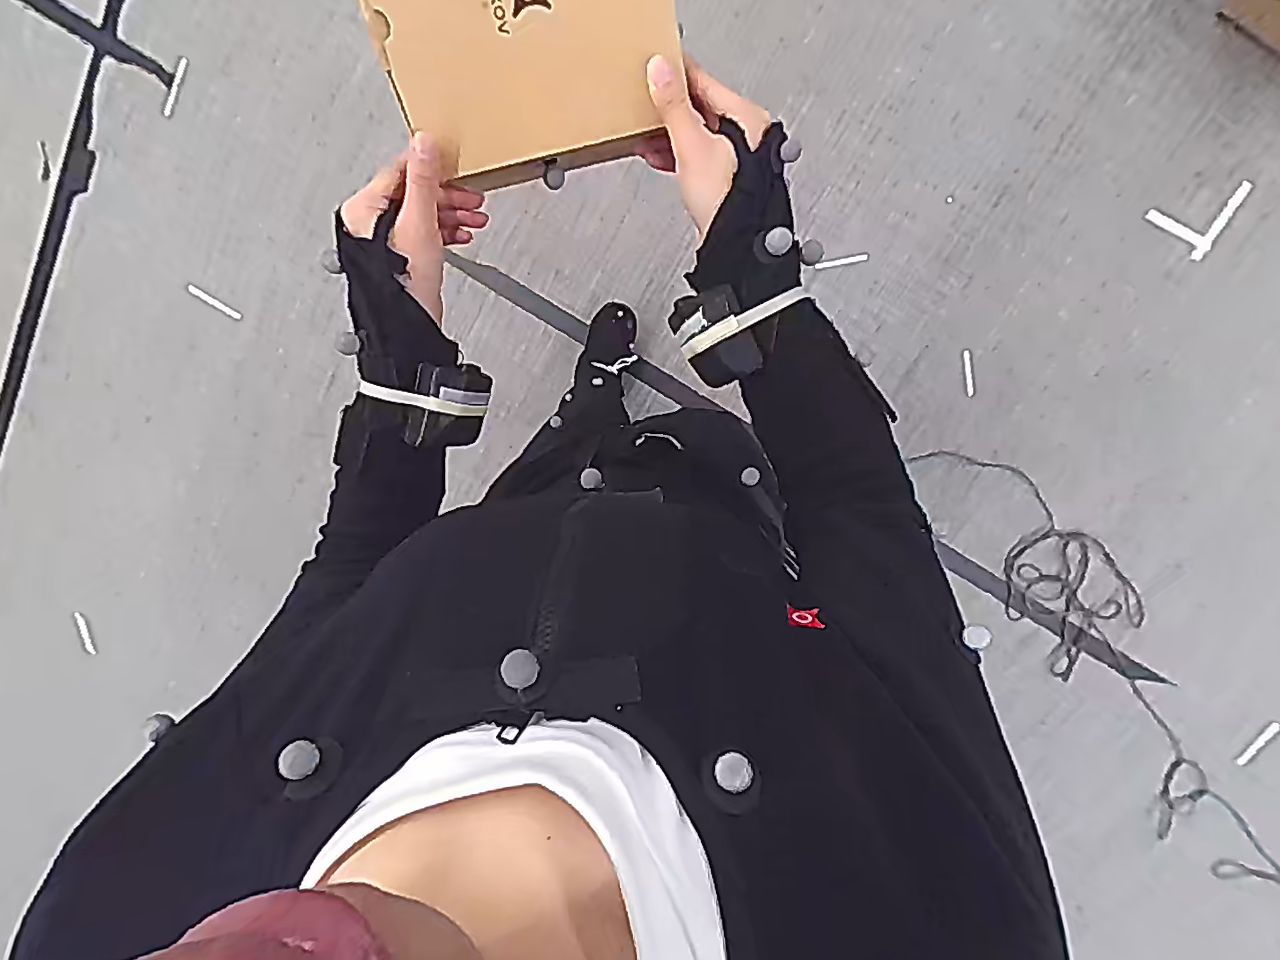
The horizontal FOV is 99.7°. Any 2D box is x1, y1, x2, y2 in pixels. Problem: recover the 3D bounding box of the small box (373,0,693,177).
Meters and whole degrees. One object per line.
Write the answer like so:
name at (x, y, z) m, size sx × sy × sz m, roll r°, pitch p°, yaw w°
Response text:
small box at (-0.071, -0.321, 0.376) m, size 0.179 × 0.176 × 0.168 m, roll -12°, pitch 117°, yaw 2°
